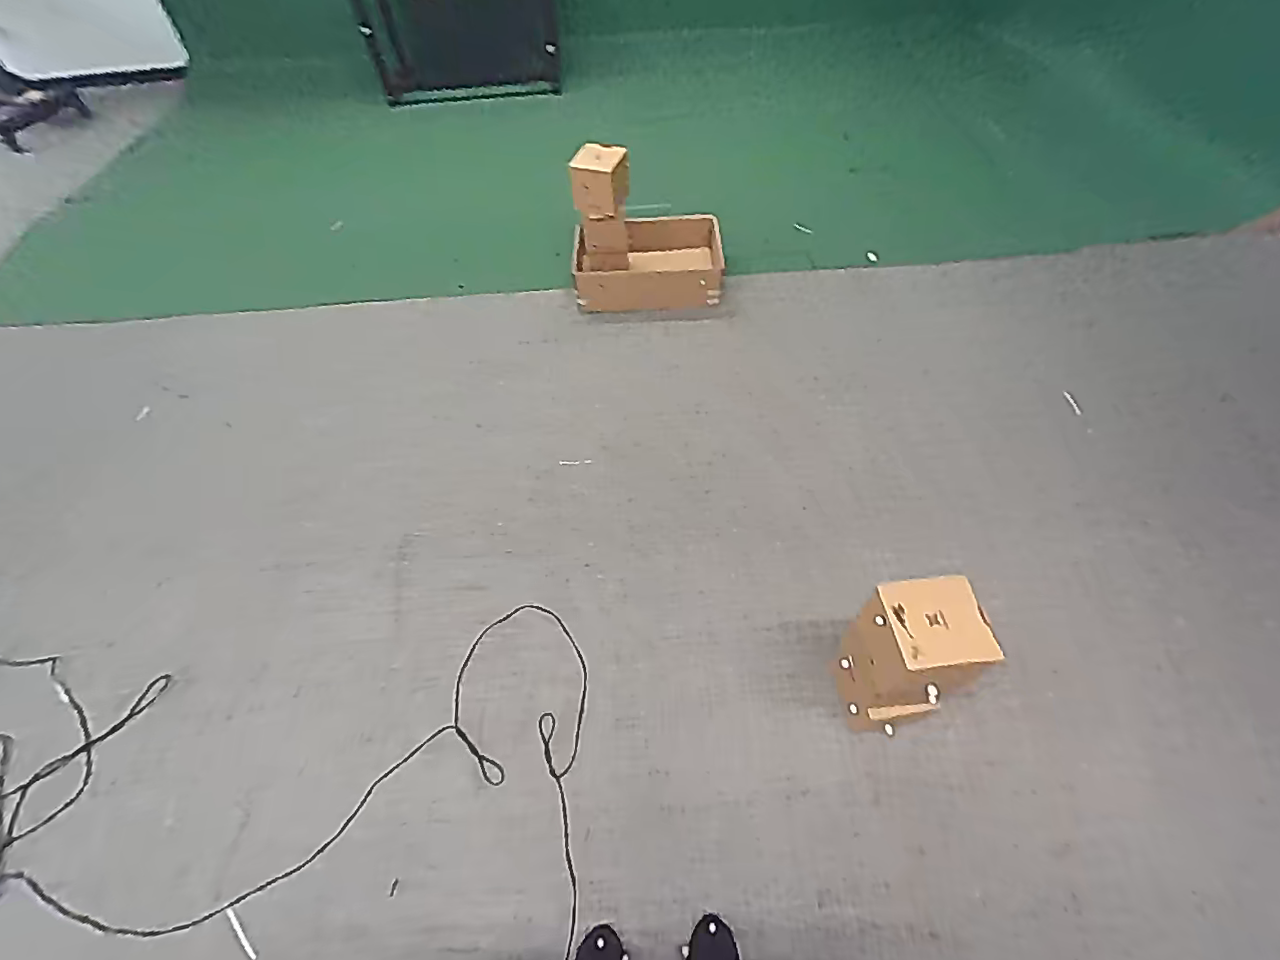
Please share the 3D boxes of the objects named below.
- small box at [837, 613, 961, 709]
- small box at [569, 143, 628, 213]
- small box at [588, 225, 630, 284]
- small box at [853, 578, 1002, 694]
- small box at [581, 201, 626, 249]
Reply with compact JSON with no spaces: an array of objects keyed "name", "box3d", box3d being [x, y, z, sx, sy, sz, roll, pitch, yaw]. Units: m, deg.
[{"name":"small box","box3d":[0.559,0.396,1.193,0.179,0.176,0.168,-6,54,0]},{"name":"small box","box3d":[-0.147,-1.138,2.042,0.168,0.176,0.179,16,57,13]},{"name":"small box","box3d":[-0.132,-0.967,2.320,0.168,0.176,0.179,-4,55,0]},{"name":"small box","box3d":[0.546,0.307,1.055,0.179,0.176,0.168,-5,54,-1]},{"name":"small box","box3d":[-0.144,-1.051,2.180,0.168,0.176,0.179,-3,54,0]}]
